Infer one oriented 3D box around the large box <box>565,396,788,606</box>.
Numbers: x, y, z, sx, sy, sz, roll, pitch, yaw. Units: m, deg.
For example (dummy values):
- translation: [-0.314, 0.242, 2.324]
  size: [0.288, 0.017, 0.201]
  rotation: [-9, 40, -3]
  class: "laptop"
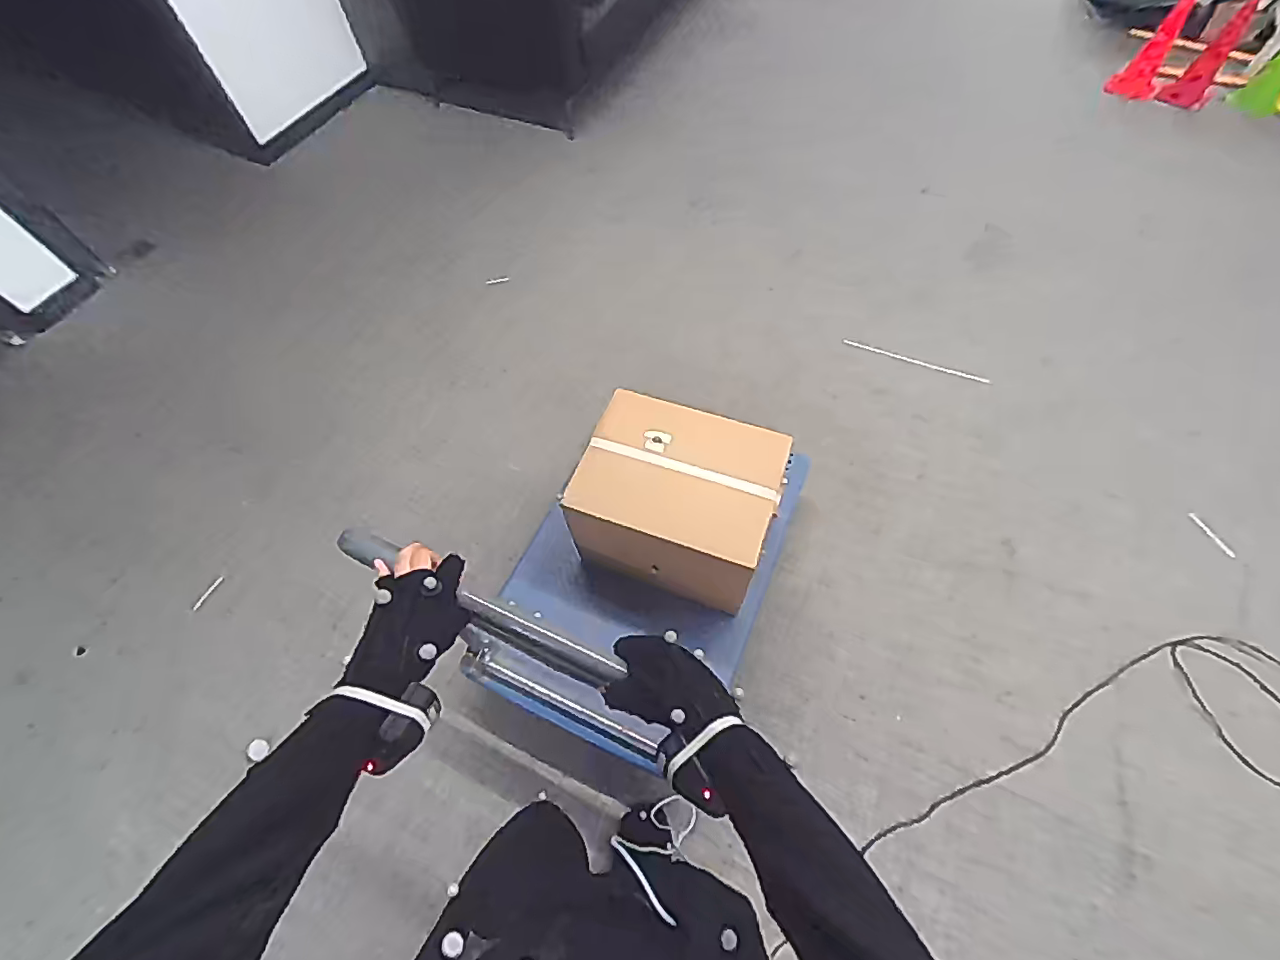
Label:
- translation: [0.093, 0.056, 1.251]
  size: [0.408, 0.320, 0.320]
  rotation: [16, 62, 13]
  class: "large box"
